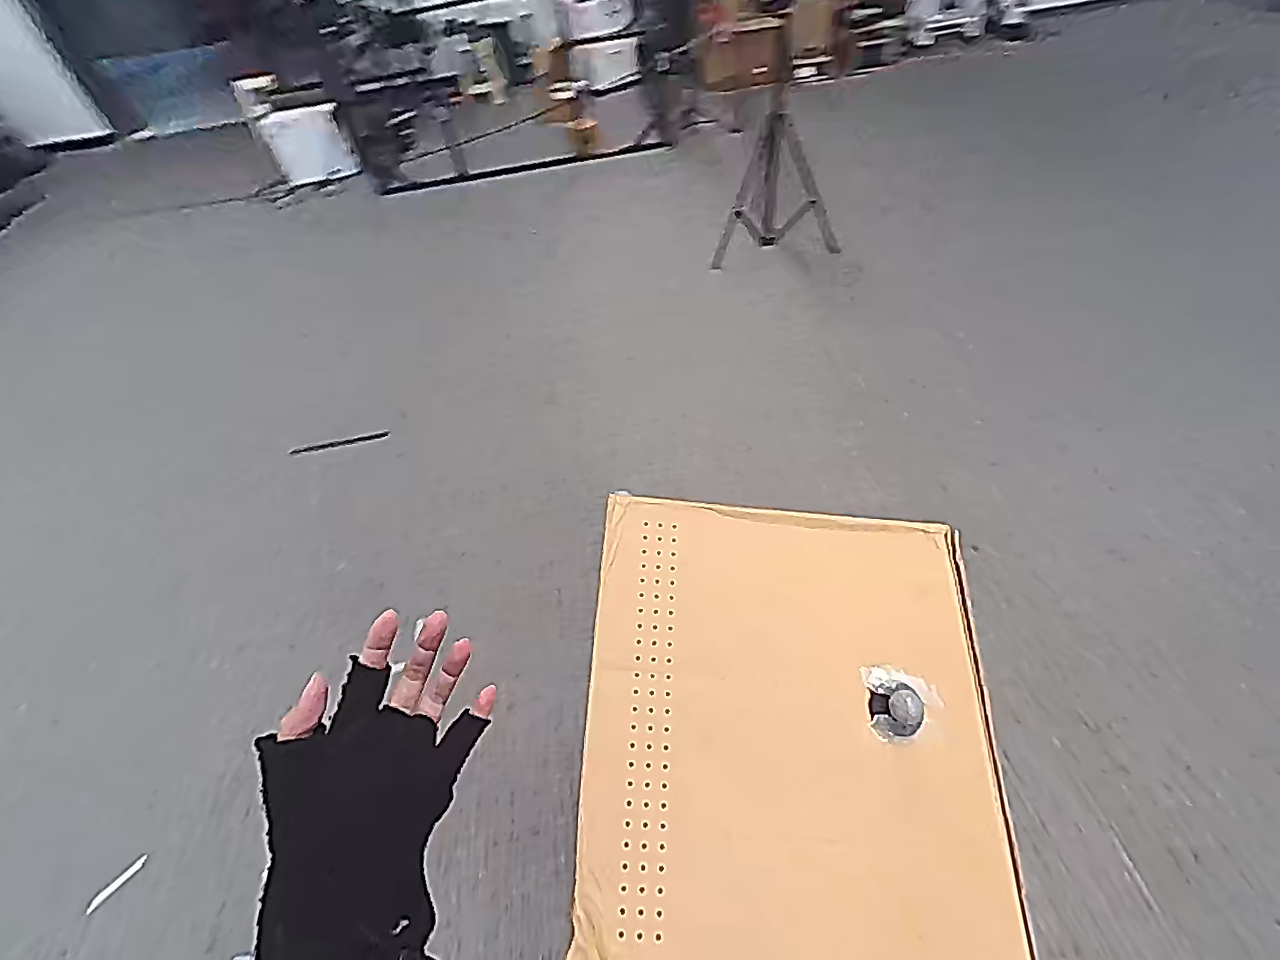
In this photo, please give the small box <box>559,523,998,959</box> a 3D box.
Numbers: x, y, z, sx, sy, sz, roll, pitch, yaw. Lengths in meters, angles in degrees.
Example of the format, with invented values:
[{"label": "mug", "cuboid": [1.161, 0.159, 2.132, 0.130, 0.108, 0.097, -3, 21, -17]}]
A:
[{"label": "small box", "cuboid": [0.047, 0.132, 0.302, 0.176, 0.168, 0.179, 4, 65, -3]}]
